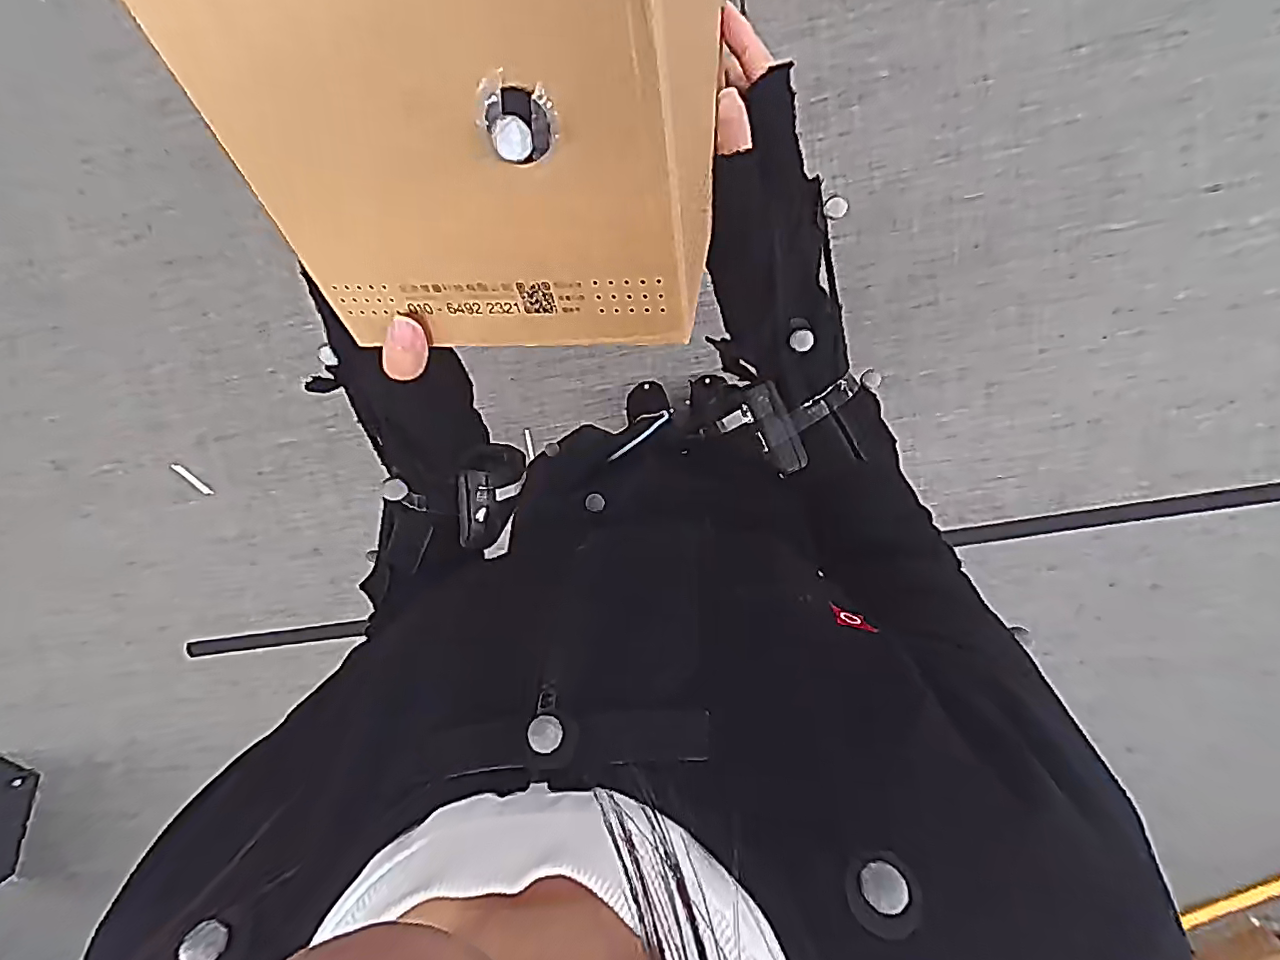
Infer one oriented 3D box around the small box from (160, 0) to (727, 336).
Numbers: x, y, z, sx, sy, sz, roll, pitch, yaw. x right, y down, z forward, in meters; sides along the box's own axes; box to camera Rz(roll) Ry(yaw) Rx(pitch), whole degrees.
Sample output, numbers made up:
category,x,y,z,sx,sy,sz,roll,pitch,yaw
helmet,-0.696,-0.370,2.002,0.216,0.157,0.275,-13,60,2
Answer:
category,x,y,z,sx,sy,sz,roll,pitch,yaw
small box,-0.051,-0.183,0.250,0.168,0.179,0.176,4,144,14
